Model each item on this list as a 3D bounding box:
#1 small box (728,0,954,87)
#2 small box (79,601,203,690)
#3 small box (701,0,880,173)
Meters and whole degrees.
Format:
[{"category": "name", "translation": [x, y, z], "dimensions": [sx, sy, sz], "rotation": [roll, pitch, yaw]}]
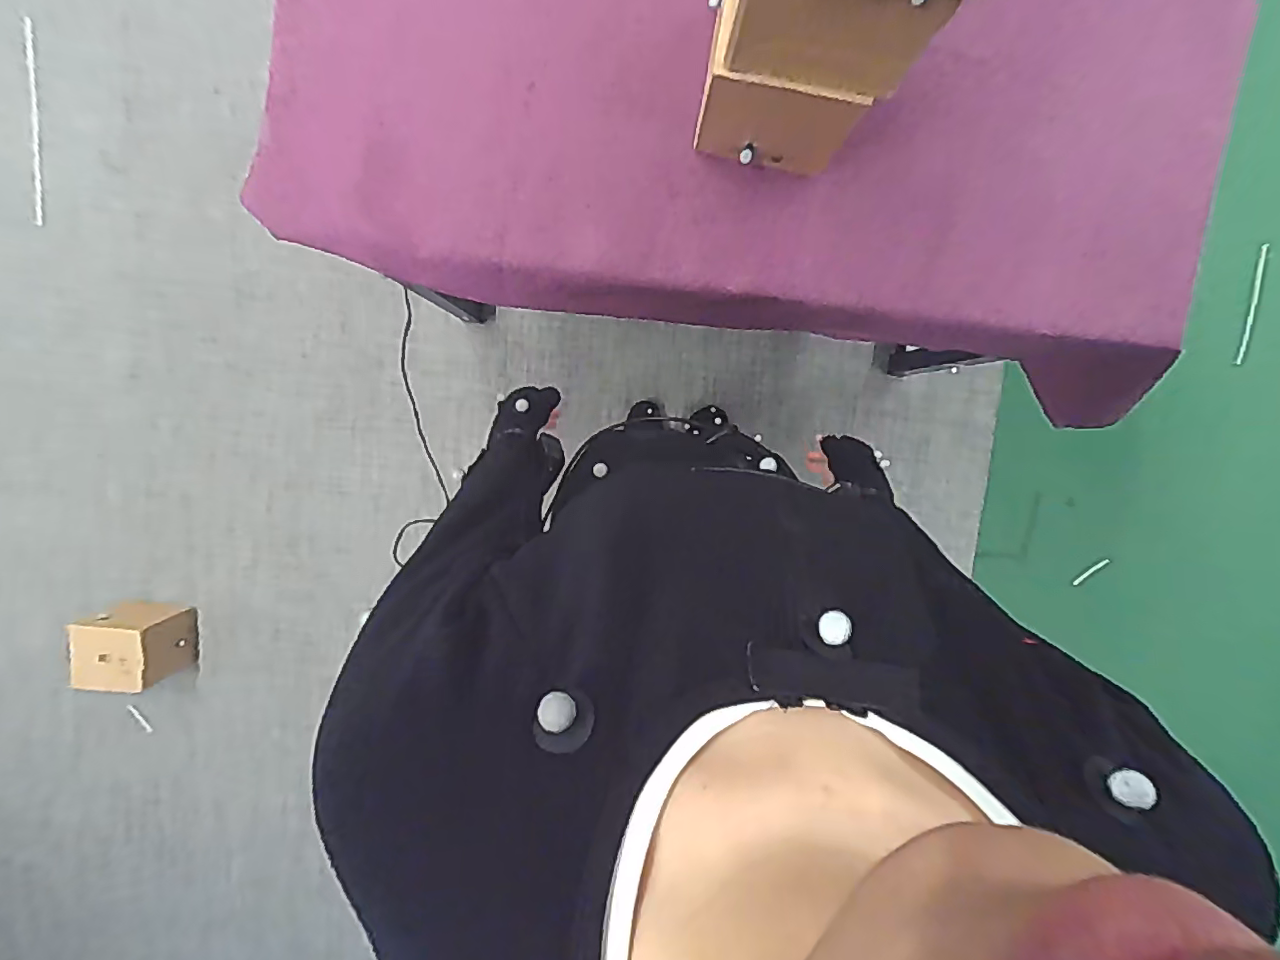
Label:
[{"category": "small box", "translation": [0.178, -0.462, 0.439], "dimensions": [0.179, 0.176, 0.168], "rotation": [9, 96, -2]}, {"category": "small box", "translation": [-1.295, 0.425, 1.411], "dimensions": [0.179, 0.176, 0.168], "rotation": [5, 97, -2]}, {"category": "small box", "translation": [0.168, -0.479, 0.599], "dimensions": [0.168, 0.176, 0.179], "rotation": [10, 97, -1]}]
